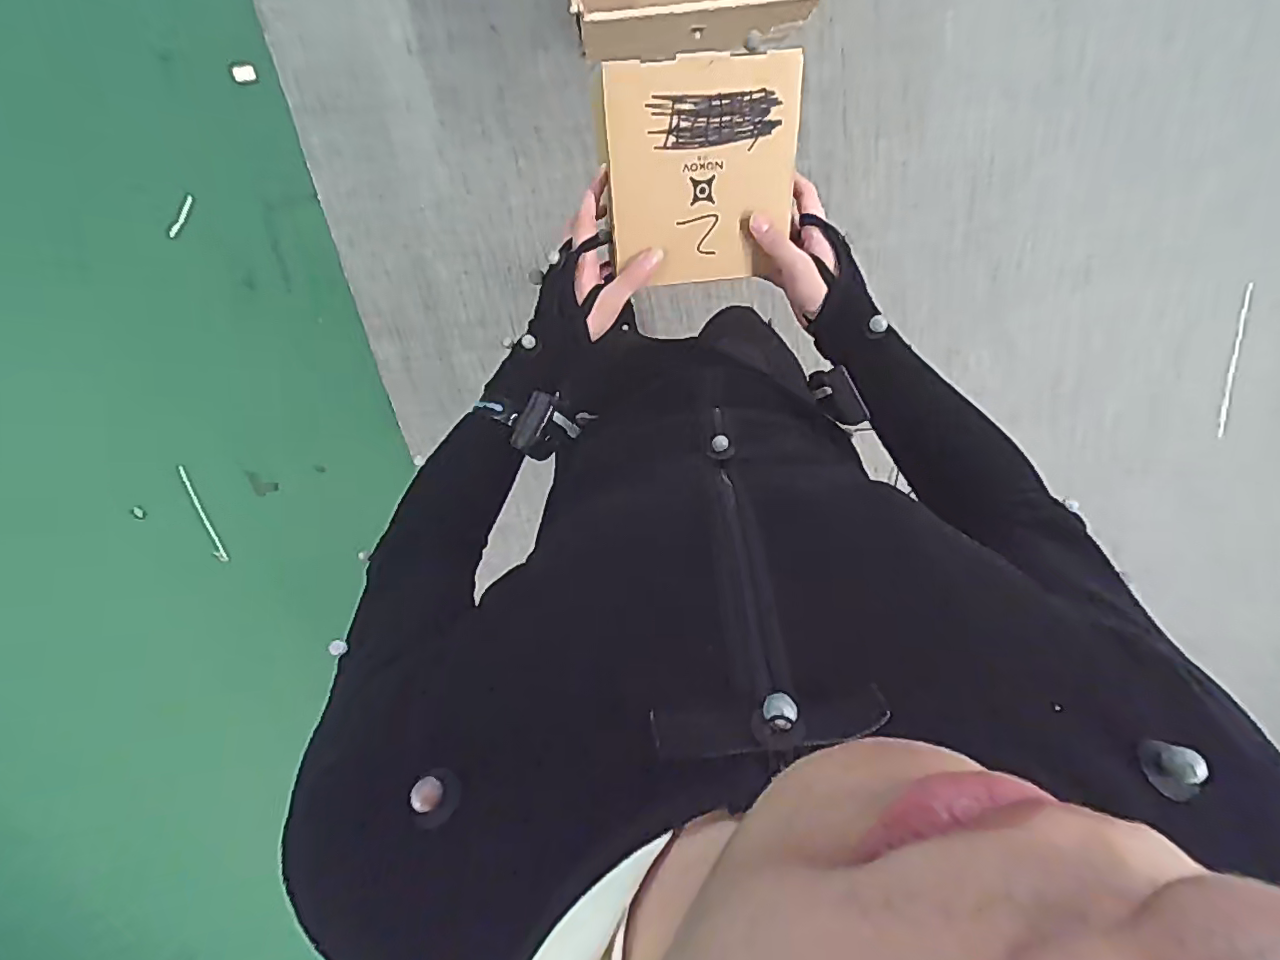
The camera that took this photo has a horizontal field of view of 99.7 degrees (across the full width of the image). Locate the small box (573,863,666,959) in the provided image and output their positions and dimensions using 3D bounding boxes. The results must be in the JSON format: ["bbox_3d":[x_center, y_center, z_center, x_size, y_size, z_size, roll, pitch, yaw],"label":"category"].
[{"bbox_3d":[-0.041,0.962,1.154,0.179,0.176,0.168,-8,112,-1],"label":"small box"}]
